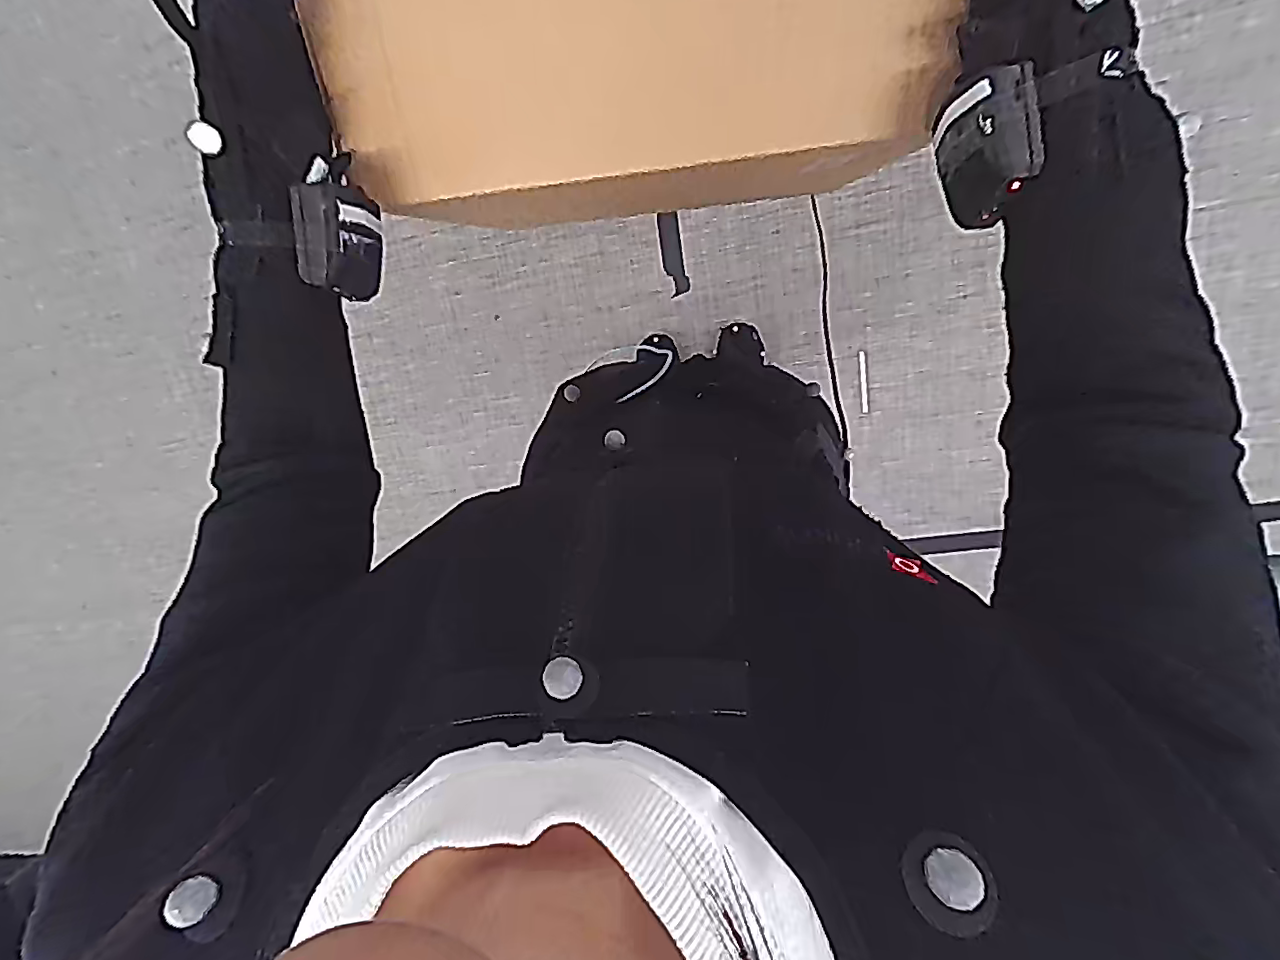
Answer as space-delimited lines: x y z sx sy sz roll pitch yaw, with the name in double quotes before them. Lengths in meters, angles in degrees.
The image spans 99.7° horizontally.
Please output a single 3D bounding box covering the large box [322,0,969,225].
"large box" -0.002 -0.415 0.447 0.408 0.320 0.320 -4 112 6
